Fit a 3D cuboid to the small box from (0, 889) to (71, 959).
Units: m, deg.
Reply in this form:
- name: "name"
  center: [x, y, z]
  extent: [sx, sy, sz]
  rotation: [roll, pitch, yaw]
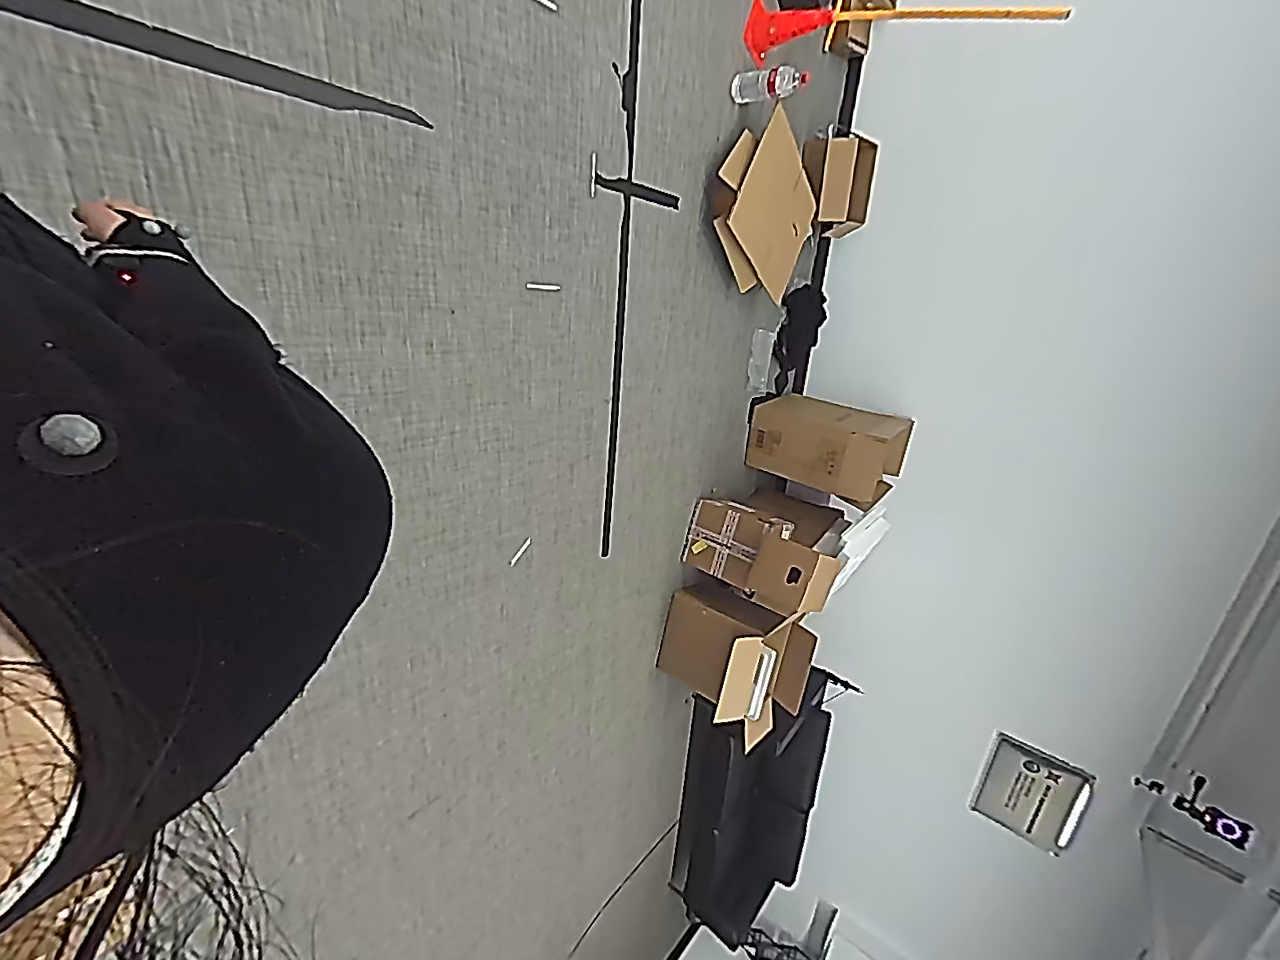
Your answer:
- name: "small box"
  center: [-1.101, 0.858, 0.913]
  extent: [0.179, 0.176, 0.168]
  rotation: [-20, 120, -47]
